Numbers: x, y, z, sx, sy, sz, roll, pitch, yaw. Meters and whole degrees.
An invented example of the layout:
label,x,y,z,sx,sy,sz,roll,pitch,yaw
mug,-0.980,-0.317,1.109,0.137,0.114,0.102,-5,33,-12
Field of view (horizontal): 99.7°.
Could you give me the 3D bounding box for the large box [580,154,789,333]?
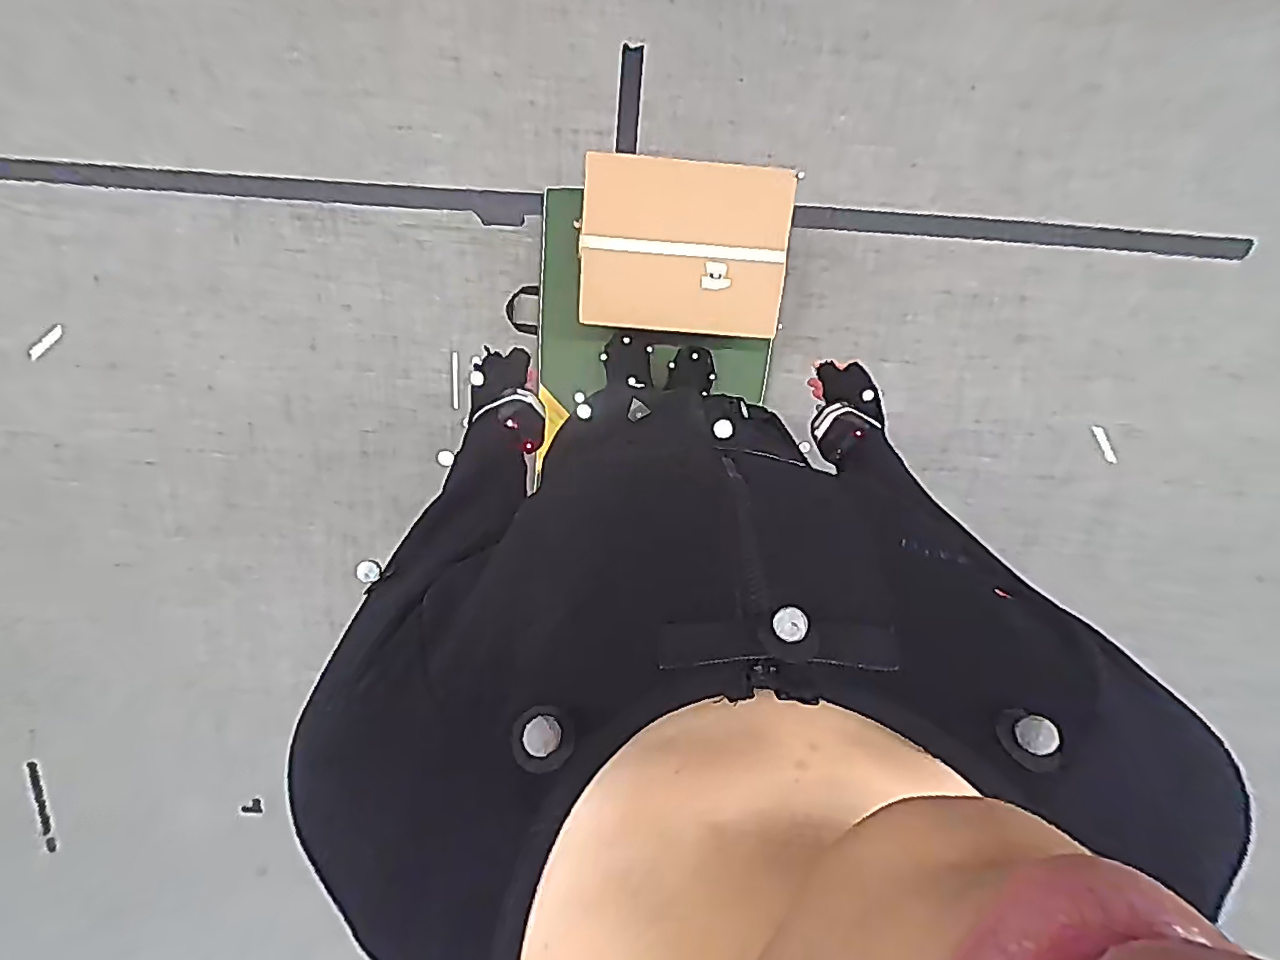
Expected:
label,x,y,z,sx,sy,sz,roll,pitch,yaw
large box,0.076,-0.502,1.213,0.408,0.320,0.320,3,107,-3
